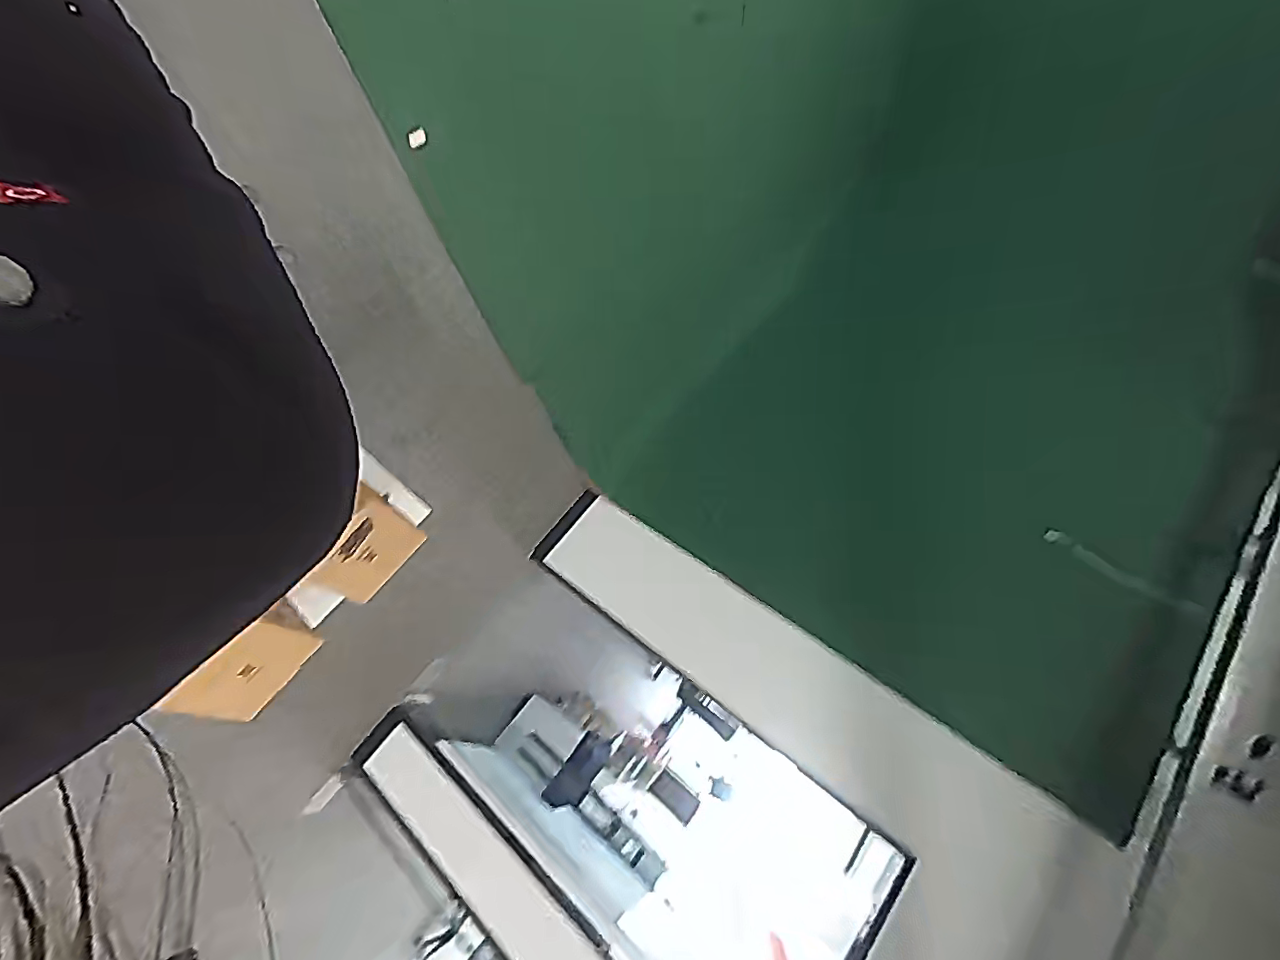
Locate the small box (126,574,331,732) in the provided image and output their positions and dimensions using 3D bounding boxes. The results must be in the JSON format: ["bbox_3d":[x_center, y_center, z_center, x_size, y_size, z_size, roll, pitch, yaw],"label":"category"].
[{"bbox_3d":[-0.663,0.280,0.881,0.168,0.176,0.179,-51,152,-16],"label":"small box"}]

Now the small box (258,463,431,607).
[{"bbox_3d":[-0.521,0.093,0.960,0.168,0.176,0.179,-50,154,-15],"label":"small box"}]
